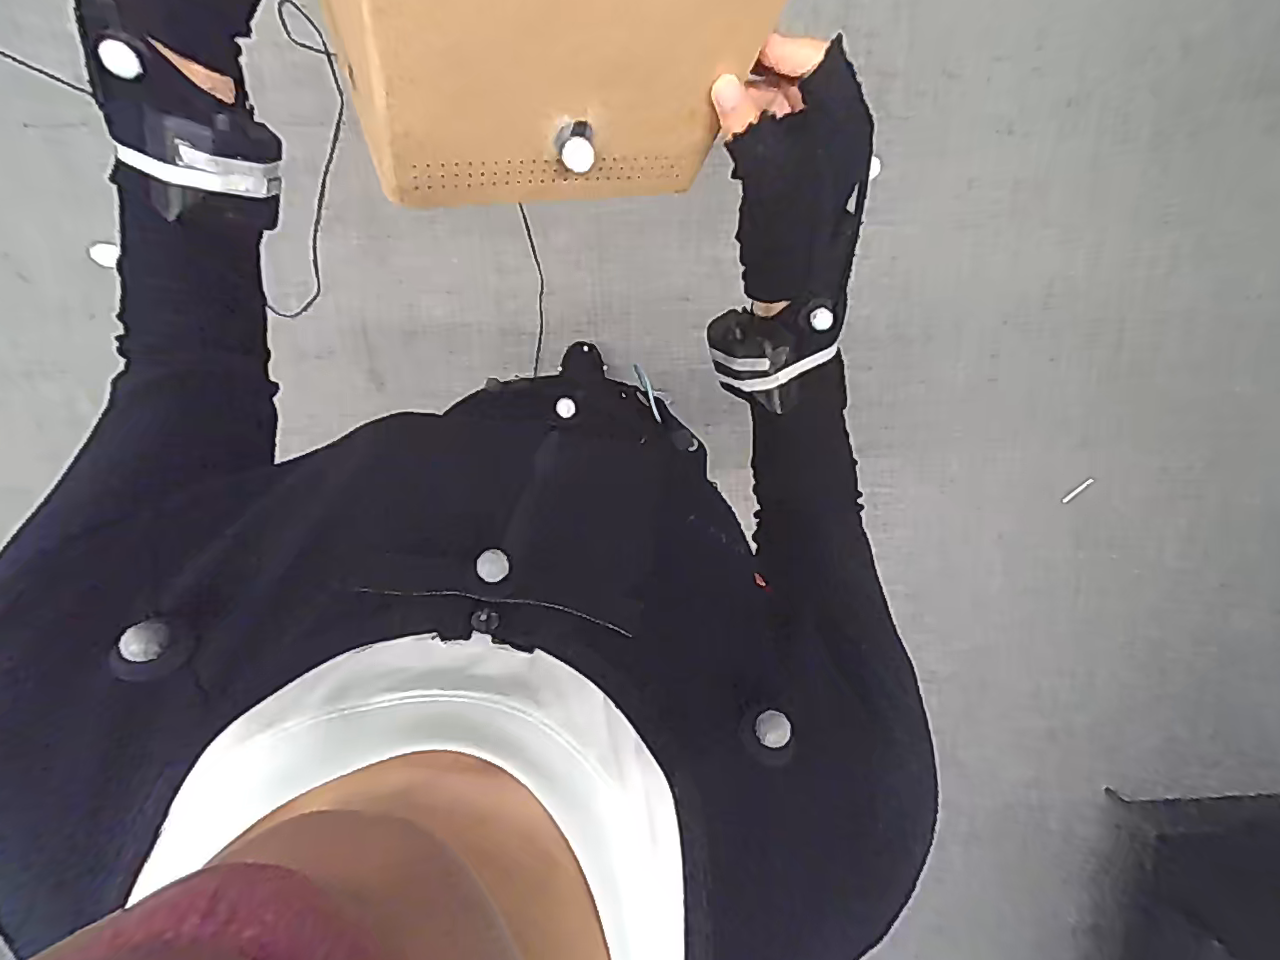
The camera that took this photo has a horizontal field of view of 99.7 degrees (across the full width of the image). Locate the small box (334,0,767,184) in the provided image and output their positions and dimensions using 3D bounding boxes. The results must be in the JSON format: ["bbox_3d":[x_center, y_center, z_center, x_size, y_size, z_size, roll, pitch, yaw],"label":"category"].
[{"bbox_3d":[-0.048,-0.264,0.245,0.179,0.176,0.168,-16,79,-23],"label":"small box"}]
